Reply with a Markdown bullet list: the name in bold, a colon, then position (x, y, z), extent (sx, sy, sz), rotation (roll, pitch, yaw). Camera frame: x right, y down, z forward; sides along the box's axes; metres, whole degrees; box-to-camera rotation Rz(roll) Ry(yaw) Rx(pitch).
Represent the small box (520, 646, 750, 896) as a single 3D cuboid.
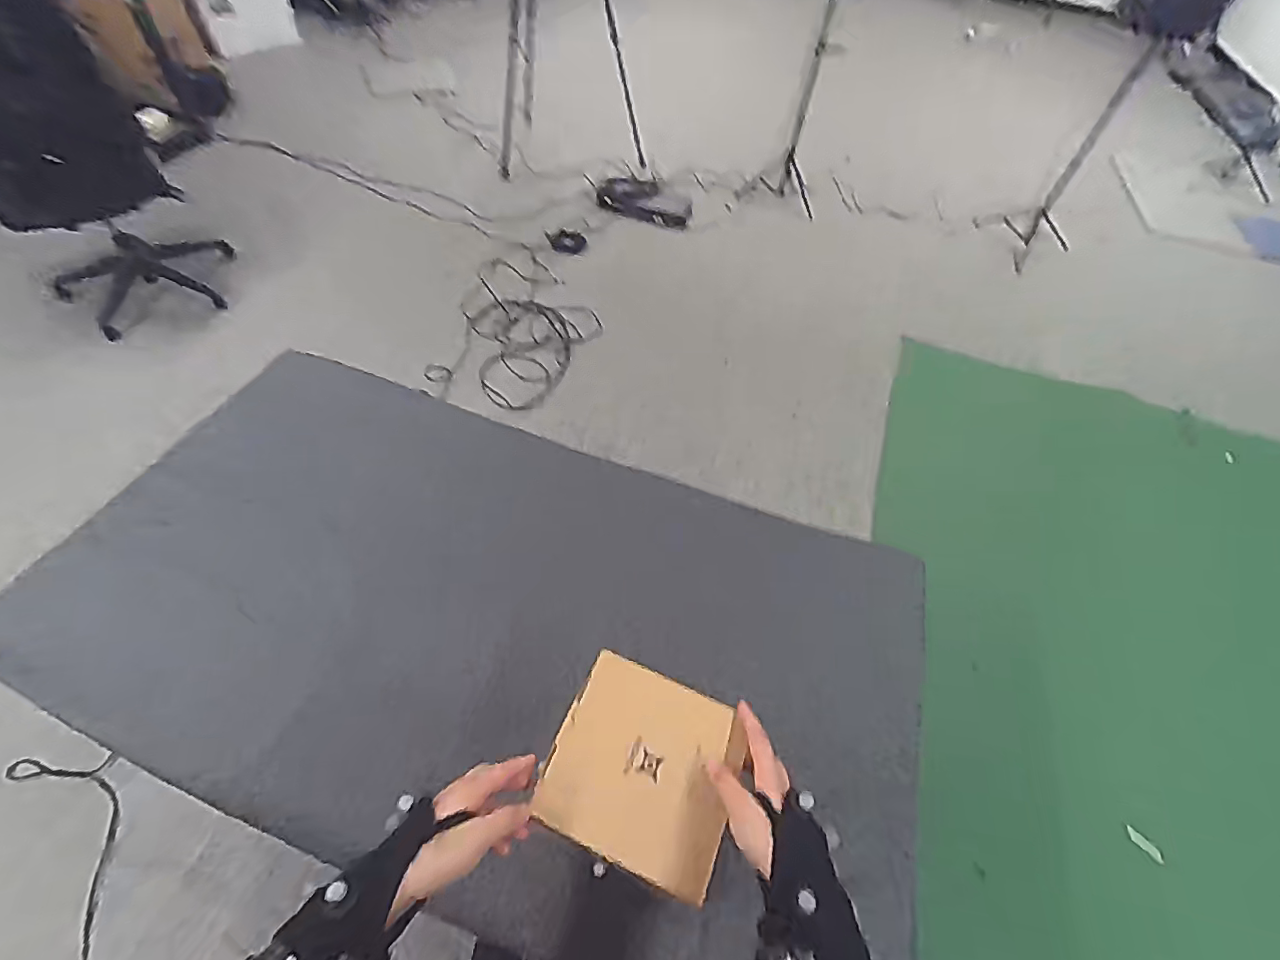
- **small box**: position (-0.007, 0.311, 0.578), extent (0.179, 0.176, 0.168), rotation (22, 55, 9)
